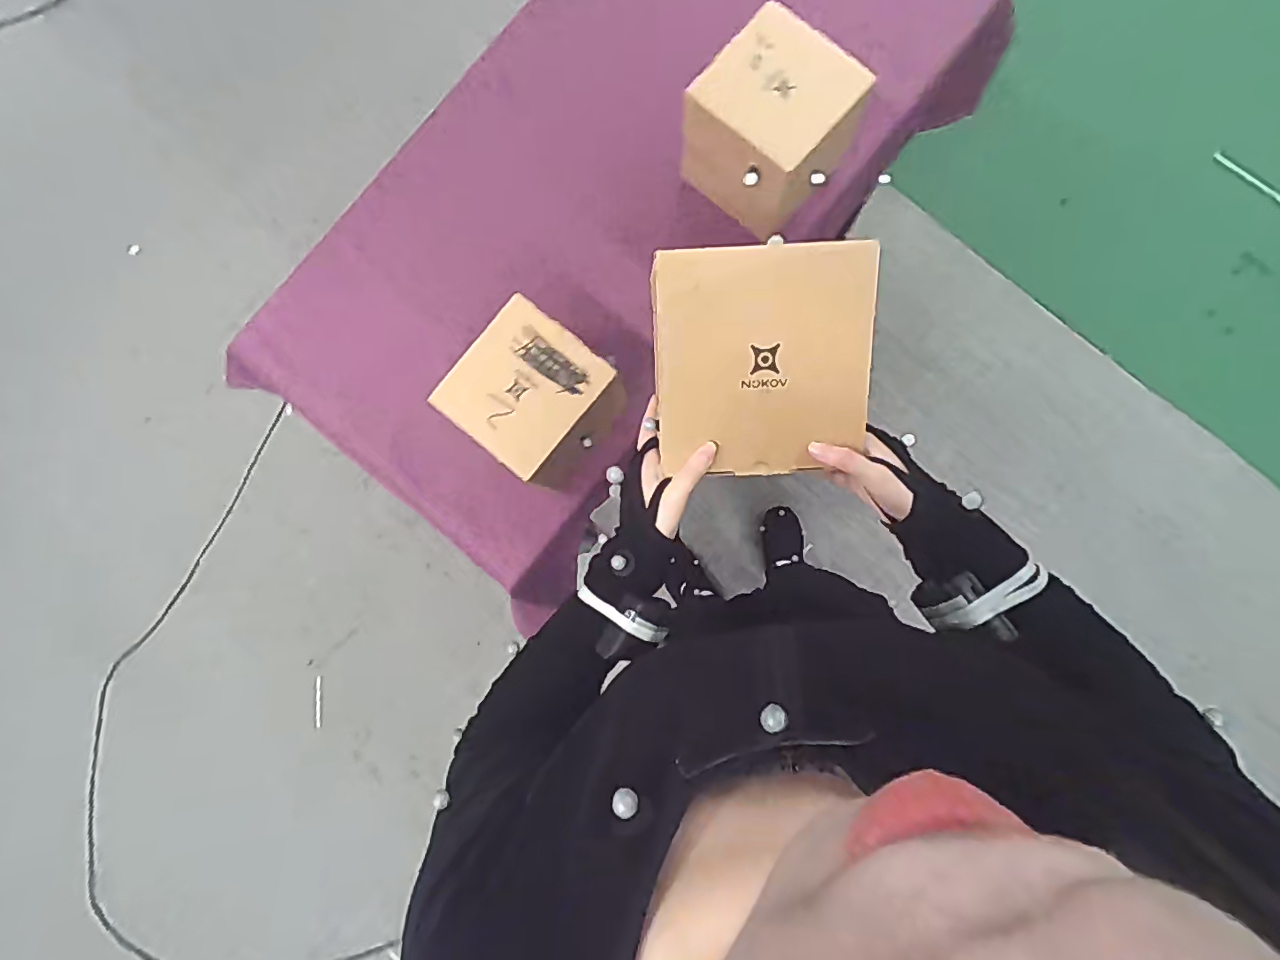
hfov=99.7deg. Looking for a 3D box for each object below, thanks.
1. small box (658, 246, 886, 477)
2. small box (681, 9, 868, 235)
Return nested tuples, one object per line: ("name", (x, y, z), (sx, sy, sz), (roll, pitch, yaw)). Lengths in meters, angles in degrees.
("small box", (0.103, -0.110, 0.499), (0.168, 0.176, 0.179), (-1, 107, 1))
("small box", (0.175, -0.480, 0.760), (0.179, 0.176, 0.168), (42, 87, 7))
